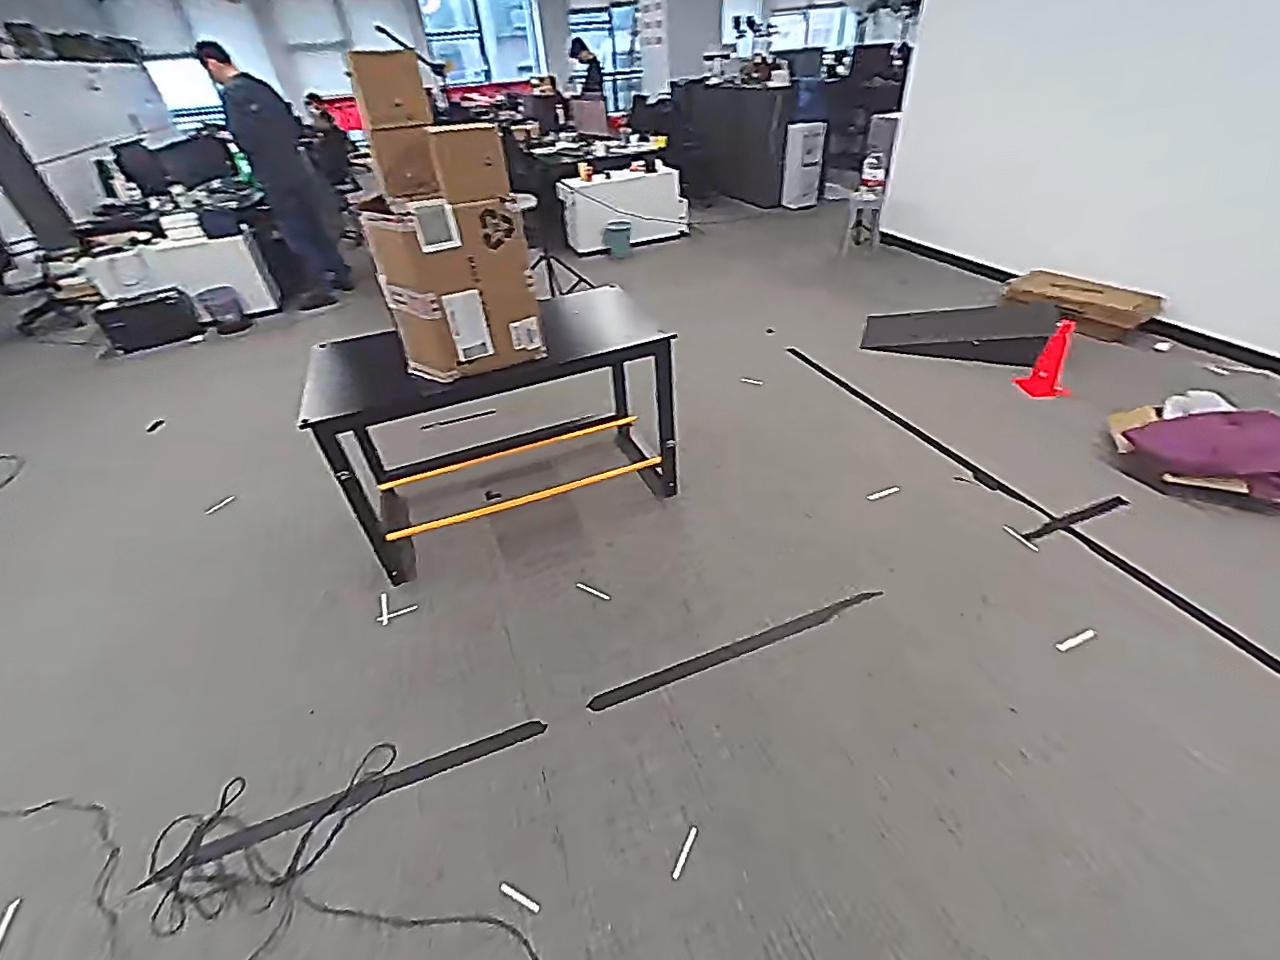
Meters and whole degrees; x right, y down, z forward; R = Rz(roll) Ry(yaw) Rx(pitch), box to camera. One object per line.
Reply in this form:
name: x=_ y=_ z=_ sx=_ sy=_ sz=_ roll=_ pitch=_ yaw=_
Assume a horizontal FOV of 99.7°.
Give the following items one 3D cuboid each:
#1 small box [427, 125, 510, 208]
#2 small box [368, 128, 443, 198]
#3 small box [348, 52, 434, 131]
small box: x=-0.467 y=-0.869 z=1.495 sx=0.179 sy=0.176 sz=0.168 roll=-19 pitch=40 yaw=-17
small box: x=-0.691 y=-0.944 z=1.605 sx=0.168 sy=0.176 sz=0.179 roll=-20 pitch=39 yaw=-20
small box: x=-0.690 y=-1.075 z=1.504 sx=0.168 sy=0.176 sz=0.179 roll=-21 pitch=39 yaw=-21
